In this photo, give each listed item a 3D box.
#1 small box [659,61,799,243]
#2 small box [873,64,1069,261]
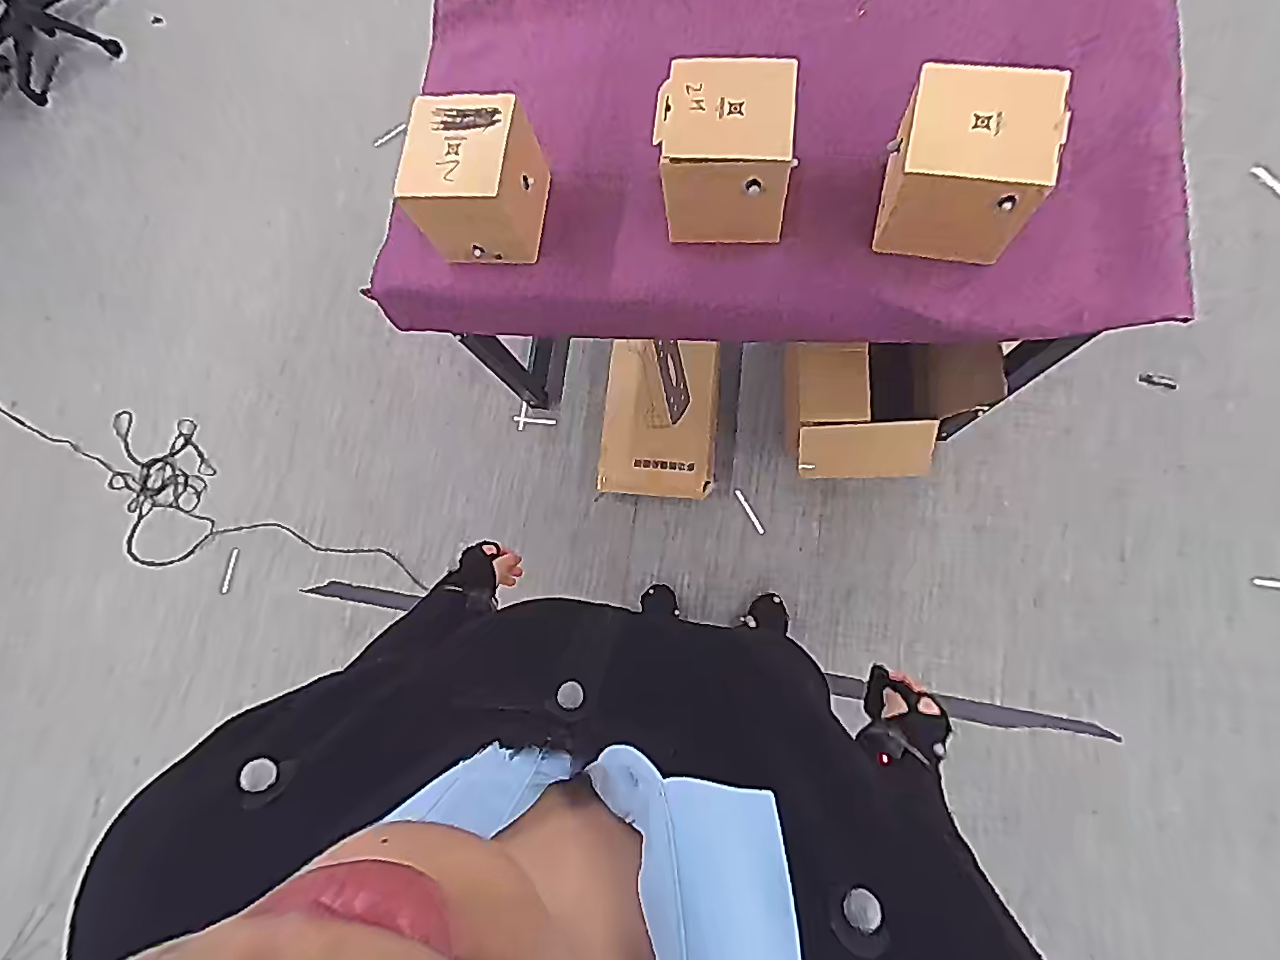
[{"bbox_3d":[0.131,-0.476,0.804,0.179,0.176,0.168,4,77,10],"label":"small box"},{"bbox_3d":[0.441,-0.427,0.748,0.179,0.176,0.168,12,81,11],"label":"small box"}]
